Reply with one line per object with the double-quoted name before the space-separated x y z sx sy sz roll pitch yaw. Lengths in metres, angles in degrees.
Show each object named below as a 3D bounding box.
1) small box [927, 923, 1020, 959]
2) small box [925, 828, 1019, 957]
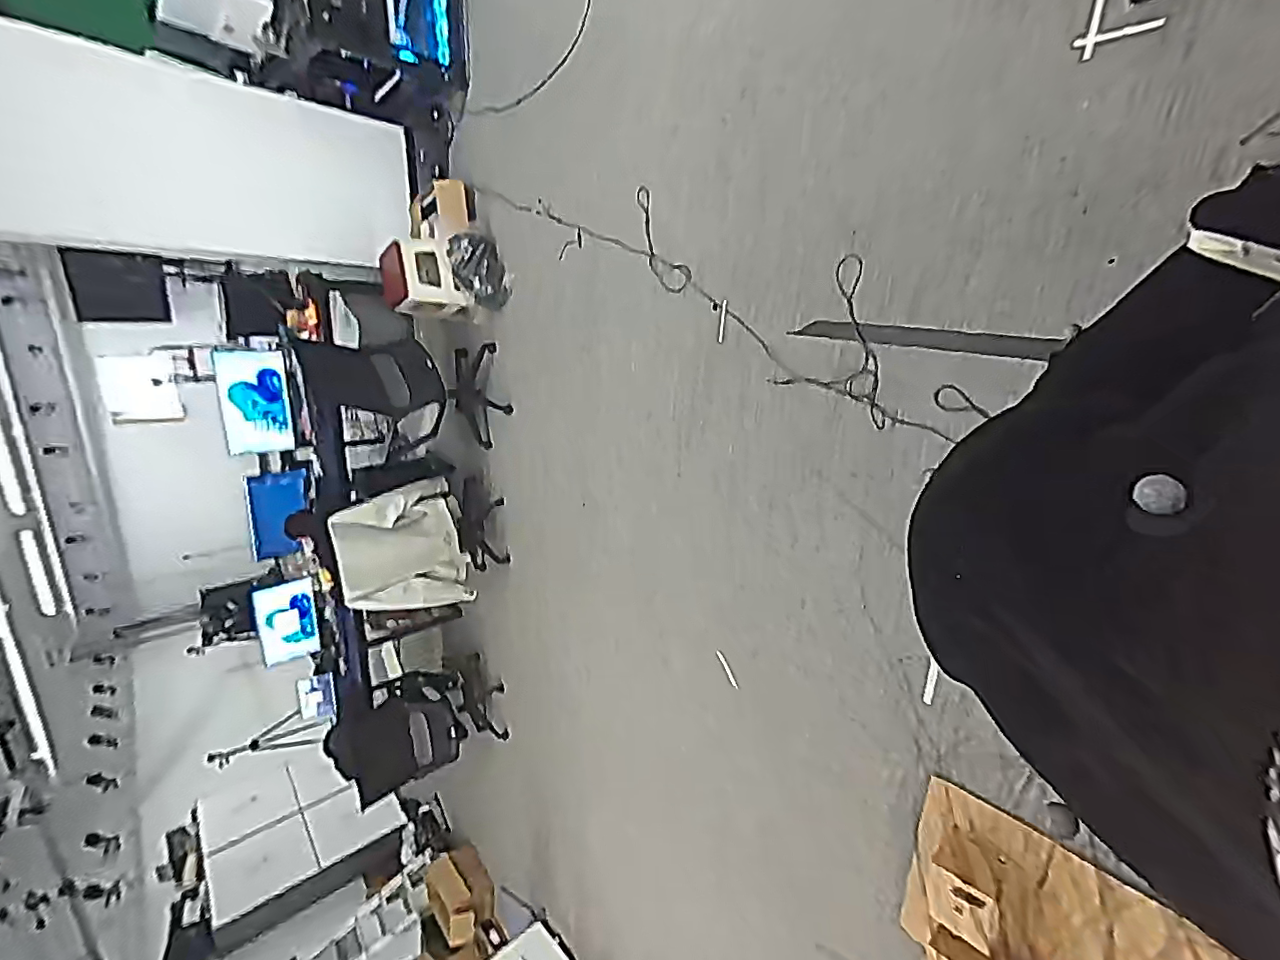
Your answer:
"small box" 0.914 1.346 1.489 0.179 0.176 0.168 13 110 46
"small box" 0.891 1.088 1.446 0.168 0.176 0.179 14 110 46
